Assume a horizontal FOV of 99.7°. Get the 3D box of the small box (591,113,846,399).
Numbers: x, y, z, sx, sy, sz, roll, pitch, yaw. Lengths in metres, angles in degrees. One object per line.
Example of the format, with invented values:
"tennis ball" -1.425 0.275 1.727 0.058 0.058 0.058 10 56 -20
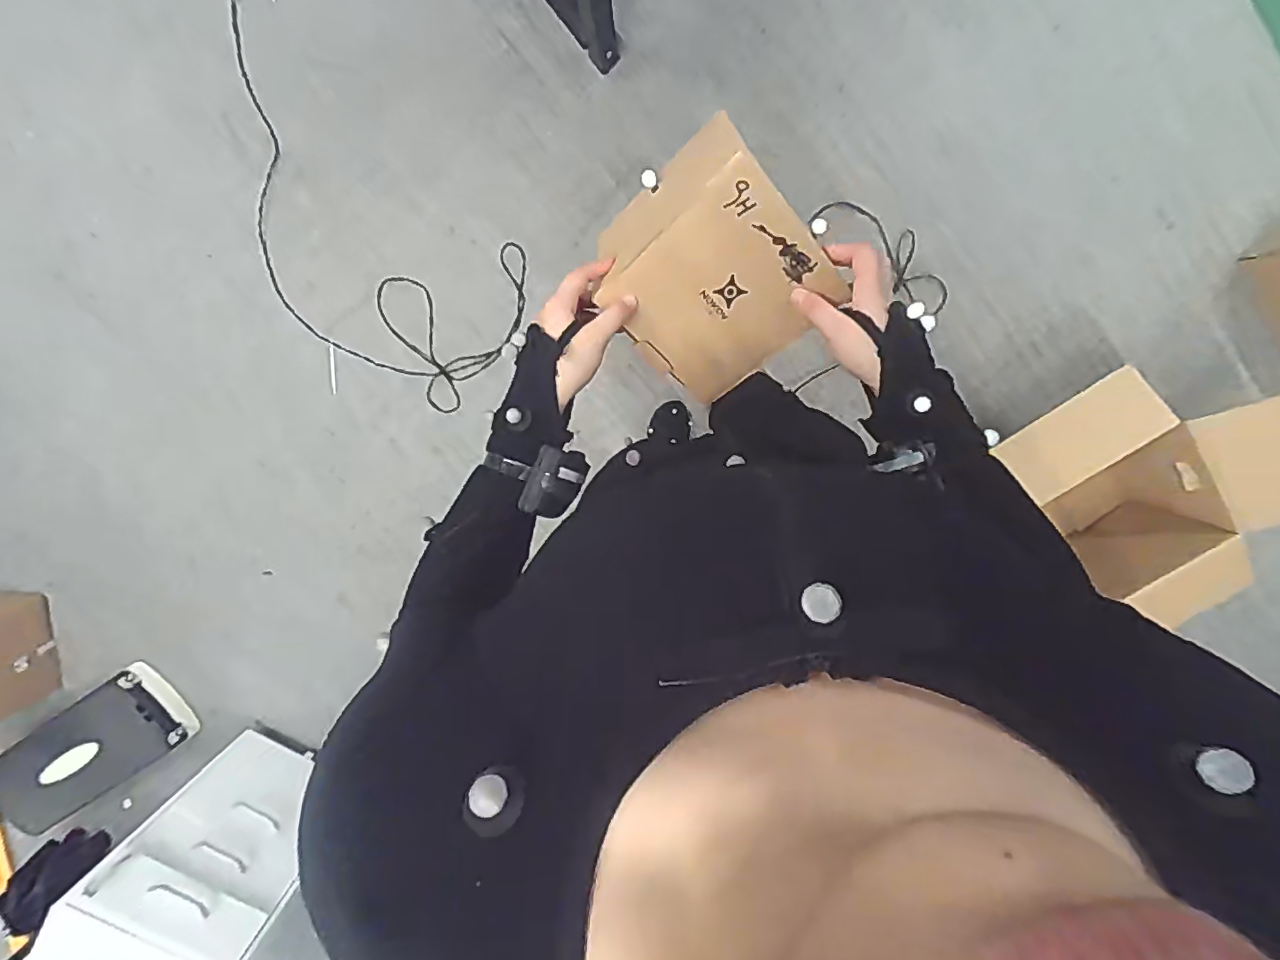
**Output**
"small box" 0.073 -0.223 0.547 0.179 0.176 0.168 -35 124 29
